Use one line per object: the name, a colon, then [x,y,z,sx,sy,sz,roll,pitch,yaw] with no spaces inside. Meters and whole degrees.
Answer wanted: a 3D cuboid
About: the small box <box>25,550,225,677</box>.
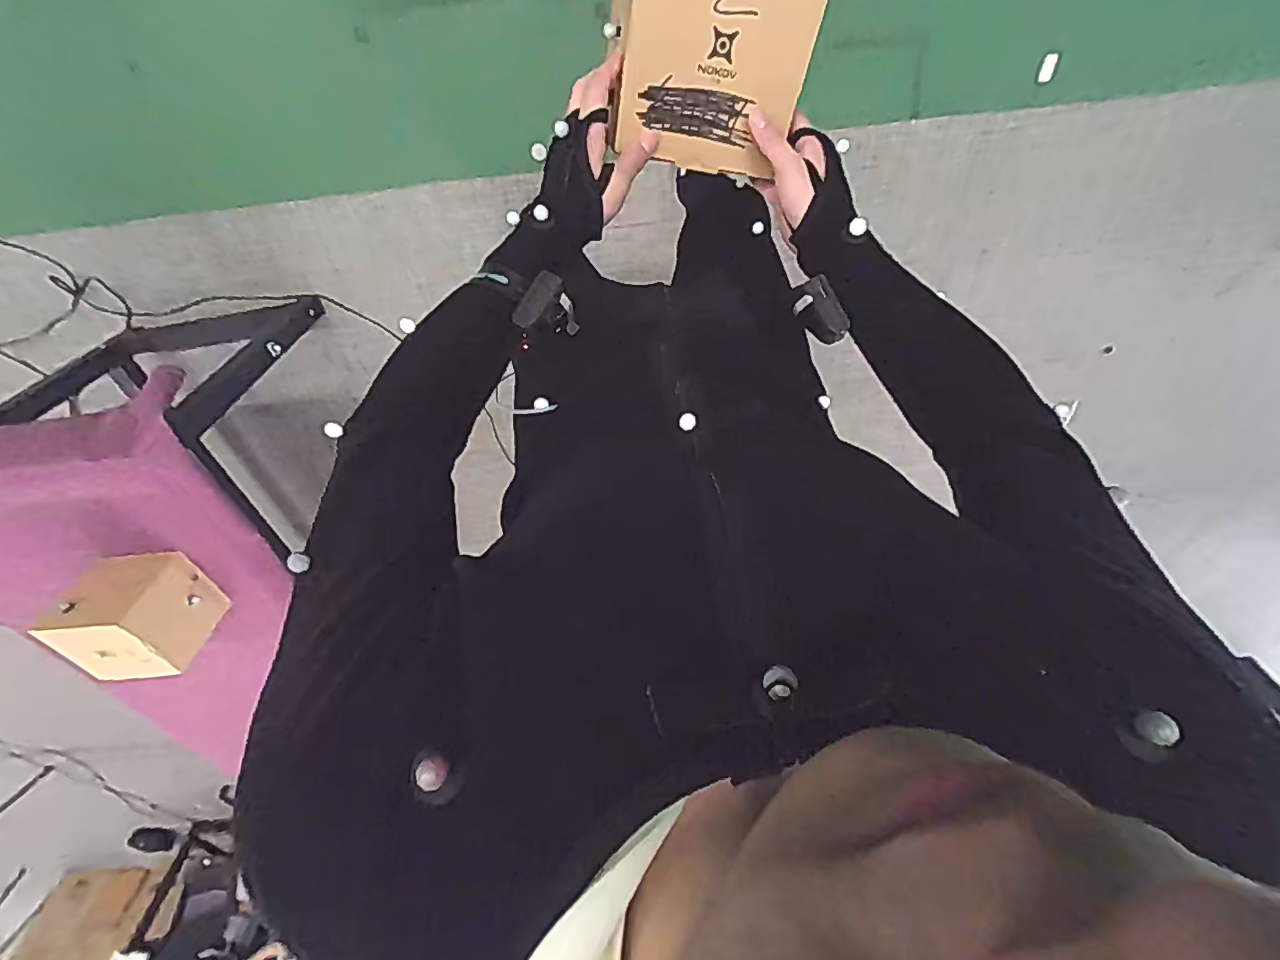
small box: [-0.953,0.250,1.023,0.179,0.176,0.168,-5,131,4]
